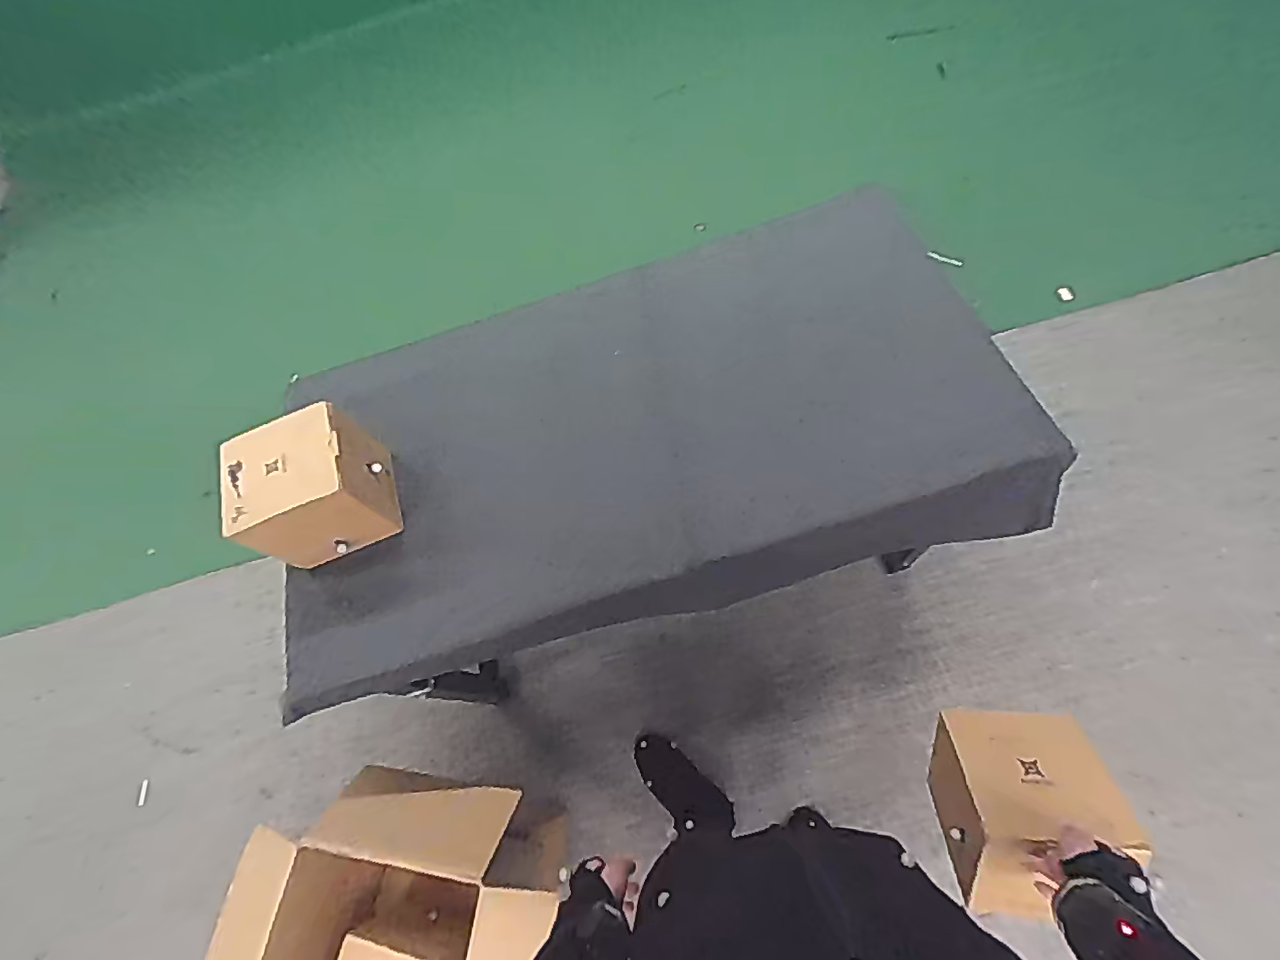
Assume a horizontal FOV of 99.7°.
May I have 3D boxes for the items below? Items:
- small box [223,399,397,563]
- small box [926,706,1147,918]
[{"bbox_3d":[-0.504,0.008,0.849,0.179,0.176,0.168,-22,64,-2],"label":"small box"},{"bbox_3d":[0.492,0.427,0.705,0.168,0.176,0.179,-1,28,11],"label":"small box"}]
